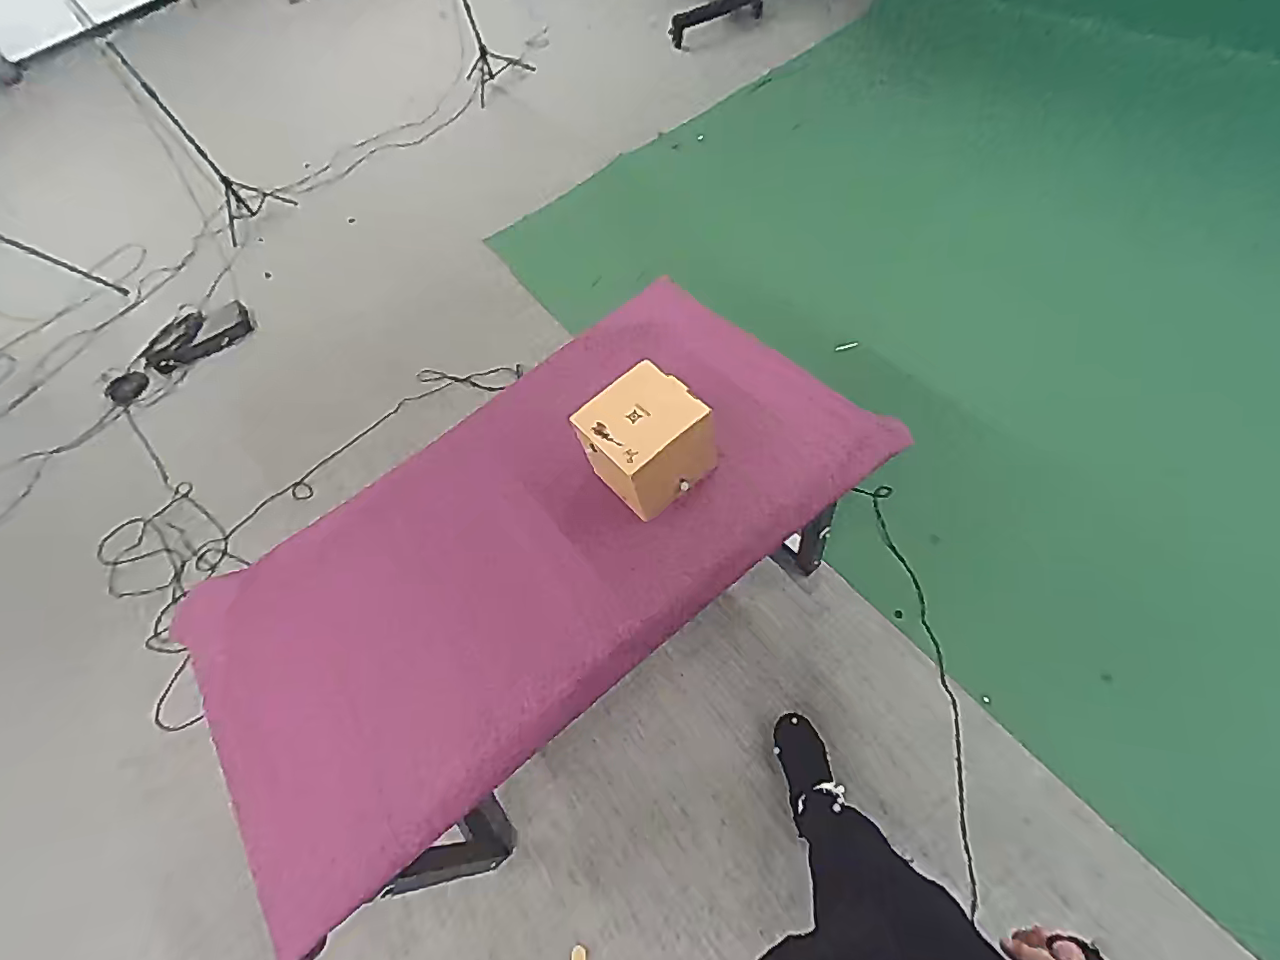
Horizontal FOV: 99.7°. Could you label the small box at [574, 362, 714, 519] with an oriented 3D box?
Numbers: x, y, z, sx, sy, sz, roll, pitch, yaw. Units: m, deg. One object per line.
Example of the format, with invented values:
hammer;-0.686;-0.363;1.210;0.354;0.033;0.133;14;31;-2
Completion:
small box;0.015;-0.065;0.951;0.179;0.176;0.168;-39;59;-11
